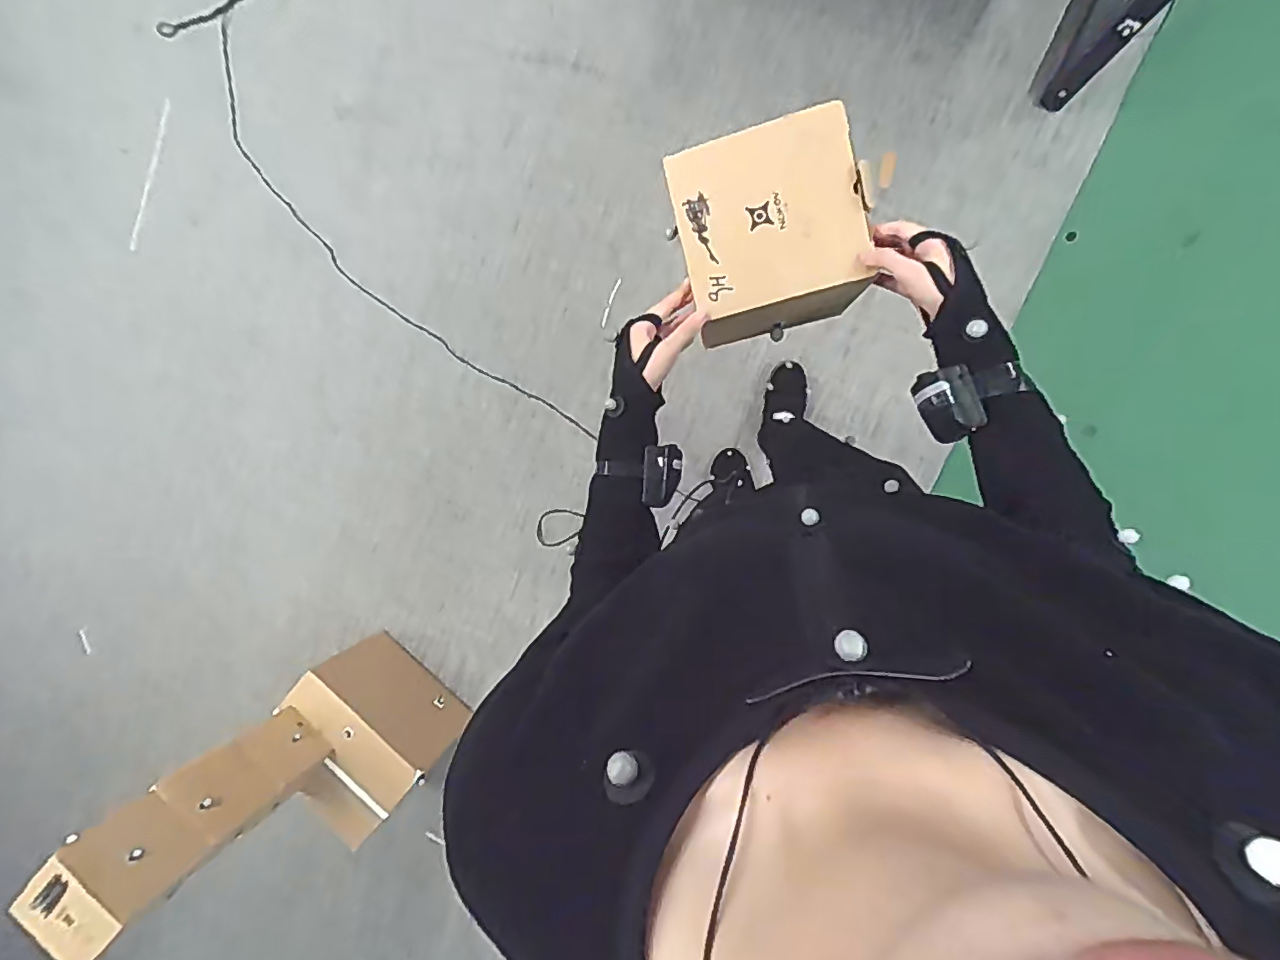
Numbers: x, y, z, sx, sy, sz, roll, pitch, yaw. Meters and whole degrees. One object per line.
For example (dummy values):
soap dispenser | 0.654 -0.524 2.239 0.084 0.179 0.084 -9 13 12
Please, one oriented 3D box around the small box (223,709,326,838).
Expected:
small box | -0.914 0.703 1.312 0.168 0.176 0.179 42 100 3

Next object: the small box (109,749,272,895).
small box | -0.946 0.711 1.153 0.179 0.176 0.168 43 100 3

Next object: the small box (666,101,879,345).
small box | 0.133 -0.259 0.592 0.179 0.176 0.168 -12 91 9
